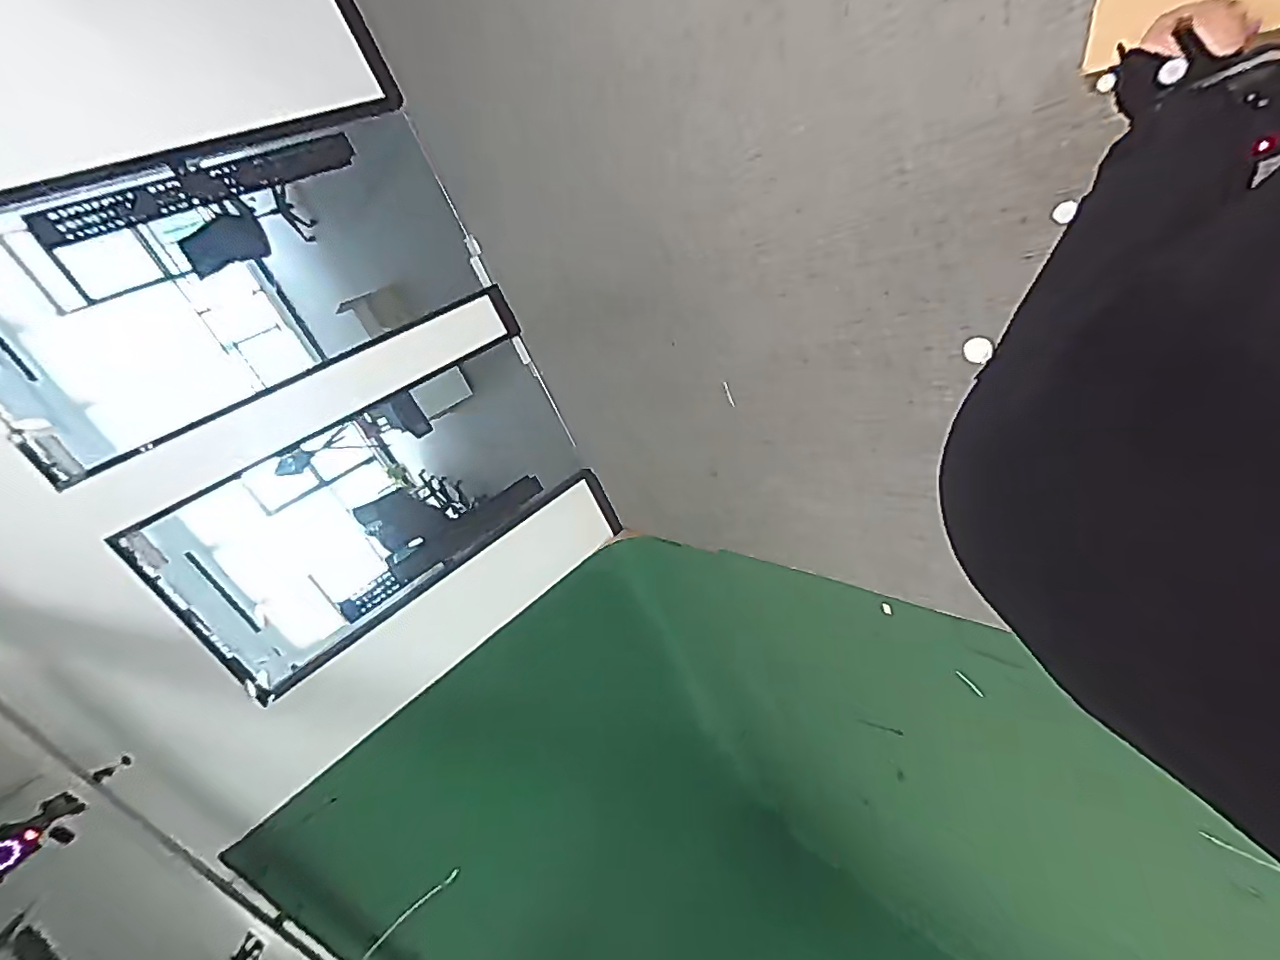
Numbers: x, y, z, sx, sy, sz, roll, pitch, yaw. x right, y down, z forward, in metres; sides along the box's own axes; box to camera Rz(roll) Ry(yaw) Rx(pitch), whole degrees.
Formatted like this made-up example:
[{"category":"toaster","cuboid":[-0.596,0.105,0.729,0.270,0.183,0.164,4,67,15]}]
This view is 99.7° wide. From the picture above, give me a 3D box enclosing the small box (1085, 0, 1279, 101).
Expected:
[{"category":"small box","cuboid":[0.528,-0.467,0.477,0.168,0.179,0.176,18,121,44]}]
